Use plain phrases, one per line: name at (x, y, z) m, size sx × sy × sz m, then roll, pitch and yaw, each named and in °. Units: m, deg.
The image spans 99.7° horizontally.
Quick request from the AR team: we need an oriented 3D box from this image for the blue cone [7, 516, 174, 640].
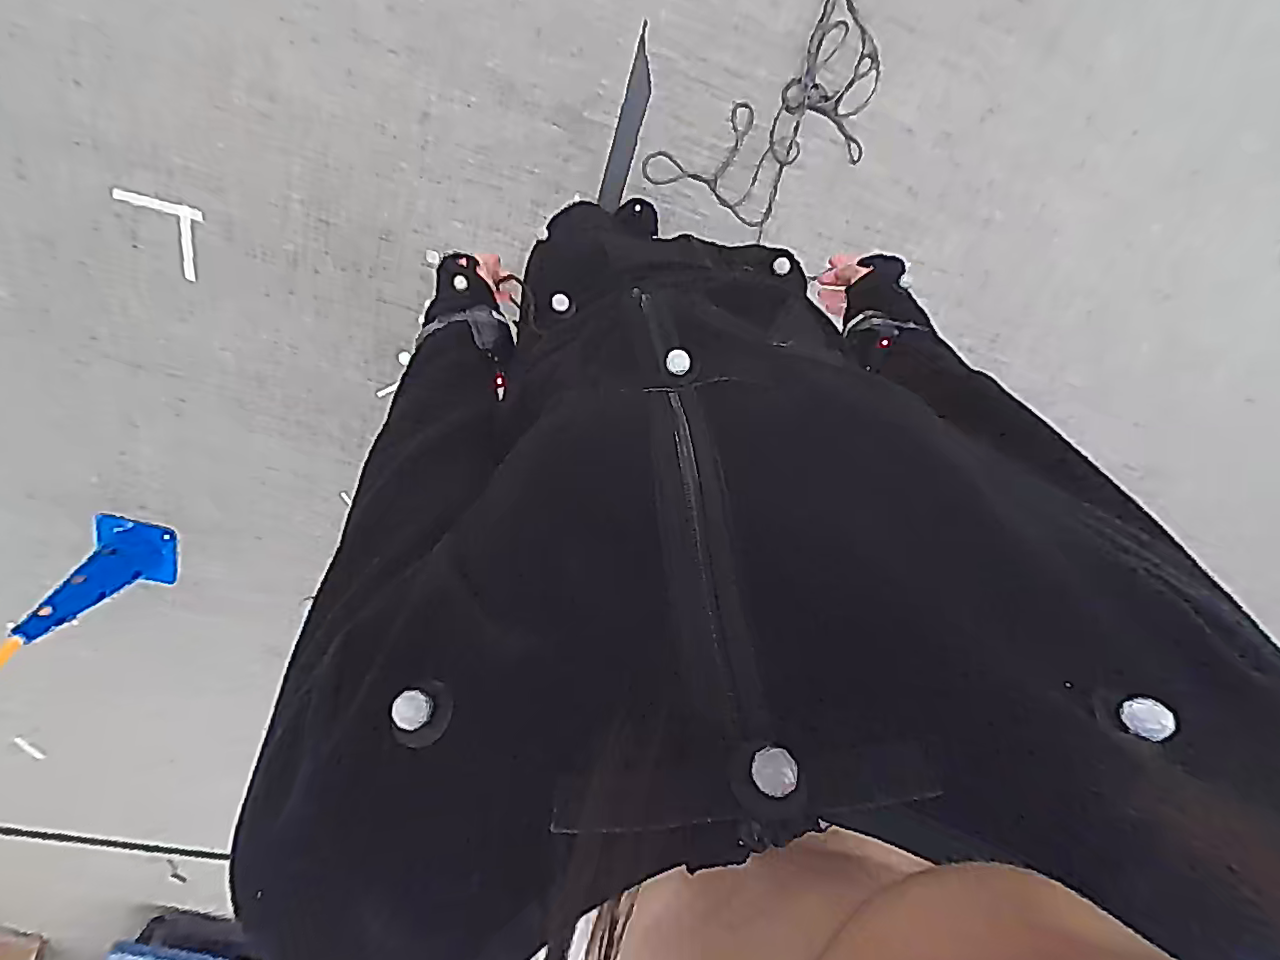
blue cone at (-1.410, 0.272, 1.376) m, size 0.193 × 0.380 × 0.192 m, roll 18°, pitch 114°, yaw -12°
